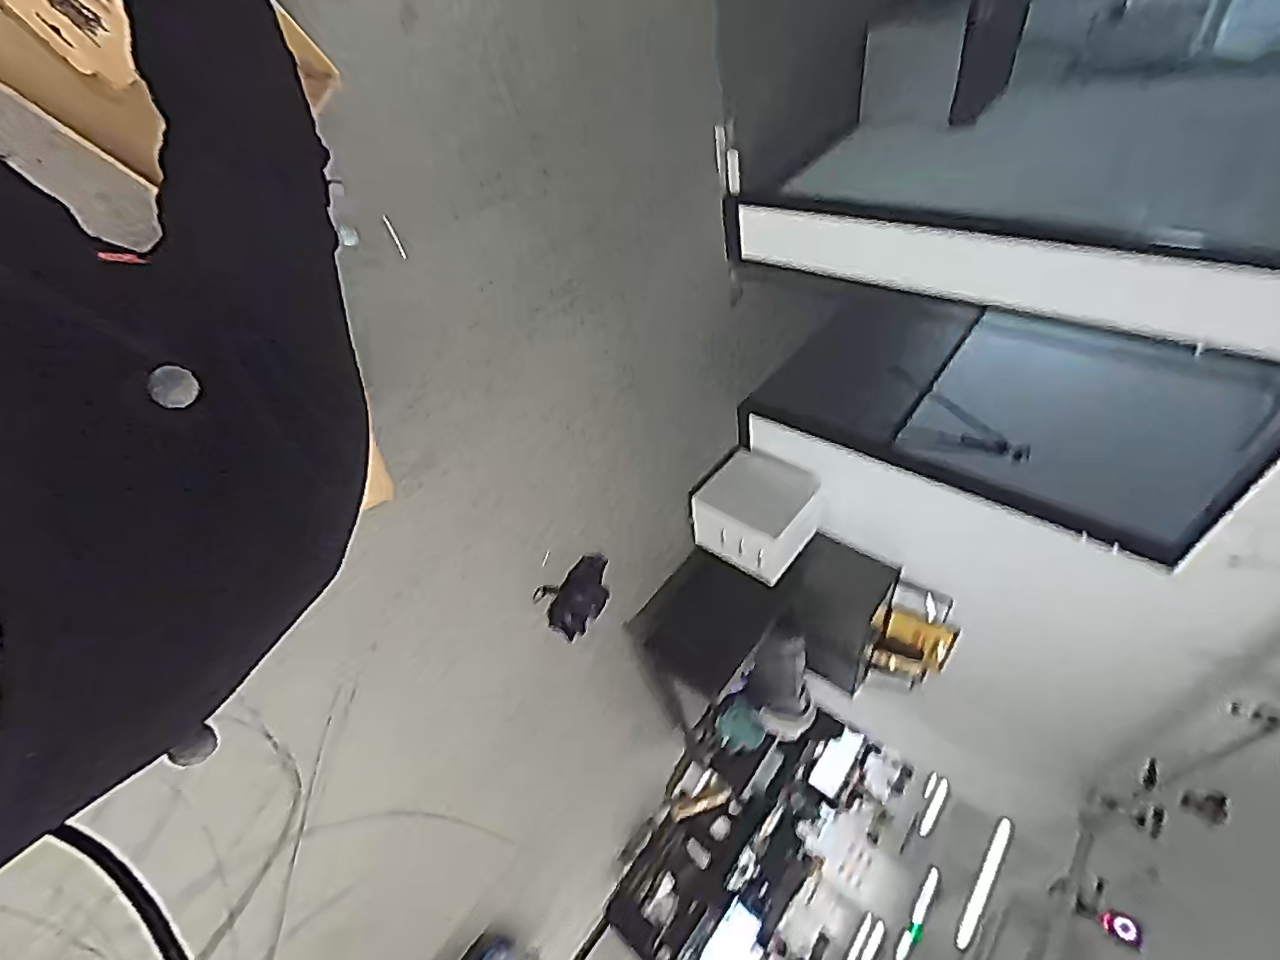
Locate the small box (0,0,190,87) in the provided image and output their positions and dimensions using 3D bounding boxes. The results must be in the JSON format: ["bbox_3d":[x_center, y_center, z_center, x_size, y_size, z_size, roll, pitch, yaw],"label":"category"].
[{"bbox_3d":[-0.846,-0.730,0.818,0.179,0.176,0.168,-56,146,-14],"label":"small box"}]
